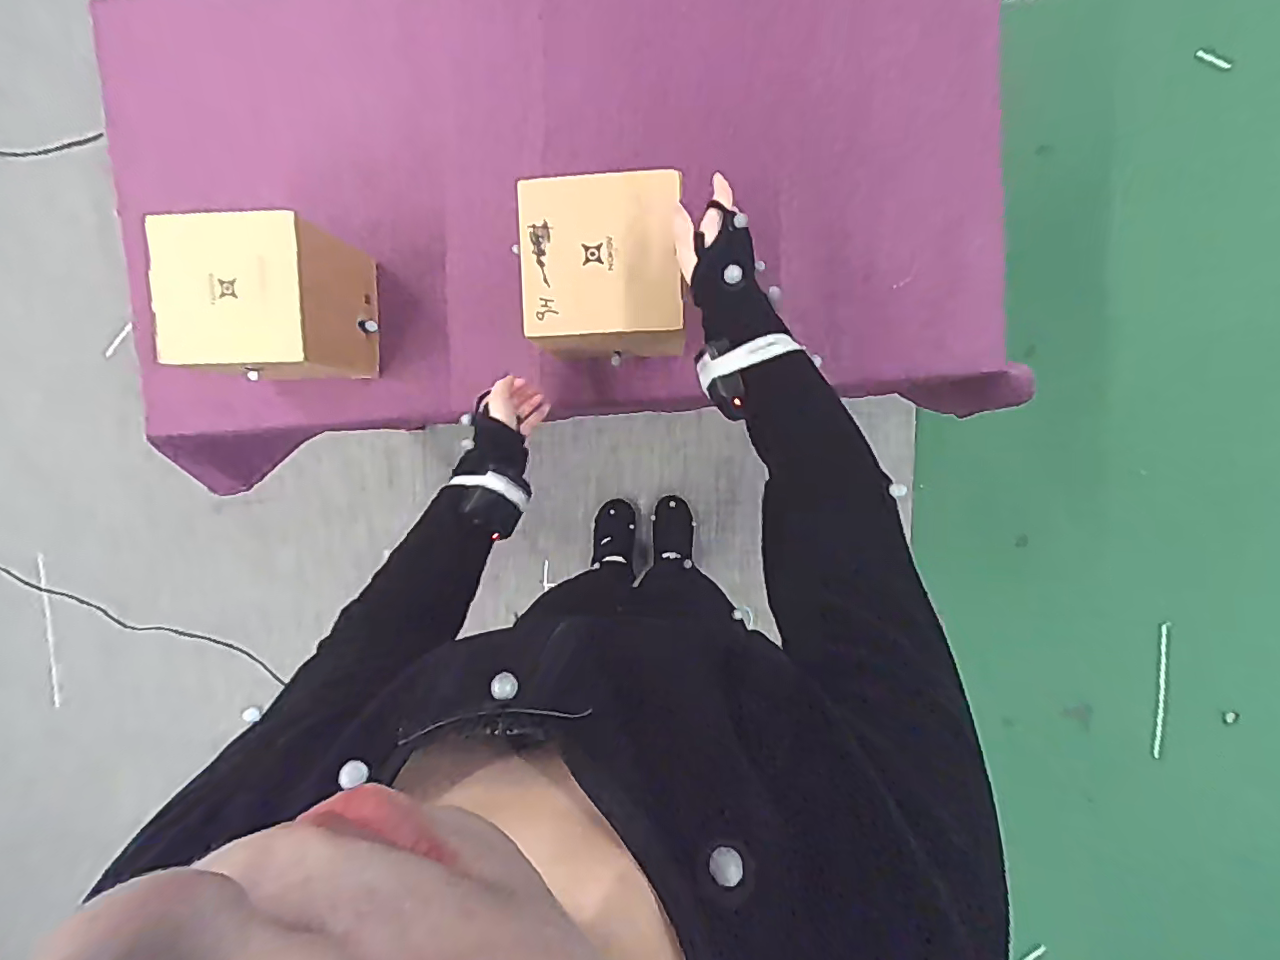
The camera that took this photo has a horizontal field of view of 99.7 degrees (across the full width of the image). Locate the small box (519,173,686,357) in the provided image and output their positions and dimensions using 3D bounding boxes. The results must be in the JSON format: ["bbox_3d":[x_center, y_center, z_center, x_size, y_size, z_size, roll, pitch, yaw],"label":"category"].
[{"bbox_3d":[-0.038,-0.246,0.656,0.179,0.176,0.168,-2,94,3],"label":"small box"}]

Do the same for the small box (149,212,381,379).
[{"bbox_3d":[-0.457,-0.218,0.683,0.179,0.176,0.168,0,95,3],"label":"small box"}]
